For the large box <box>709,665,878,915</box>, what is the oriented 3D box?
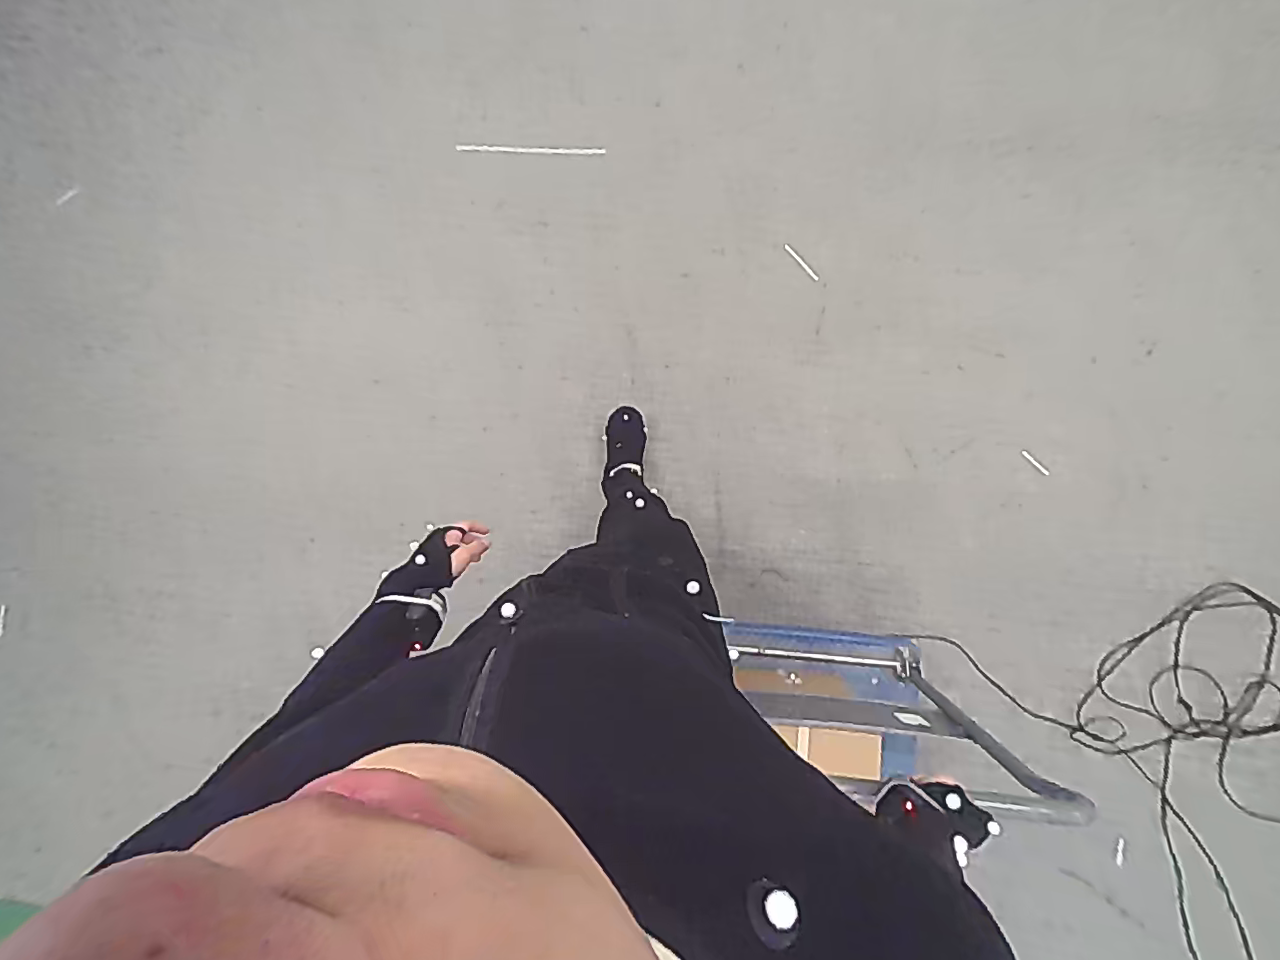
[{"bbox_3d":[0.329,0.676,1.247,0.320,0.320,0.408,3,89,4],"label":"large box"}]
